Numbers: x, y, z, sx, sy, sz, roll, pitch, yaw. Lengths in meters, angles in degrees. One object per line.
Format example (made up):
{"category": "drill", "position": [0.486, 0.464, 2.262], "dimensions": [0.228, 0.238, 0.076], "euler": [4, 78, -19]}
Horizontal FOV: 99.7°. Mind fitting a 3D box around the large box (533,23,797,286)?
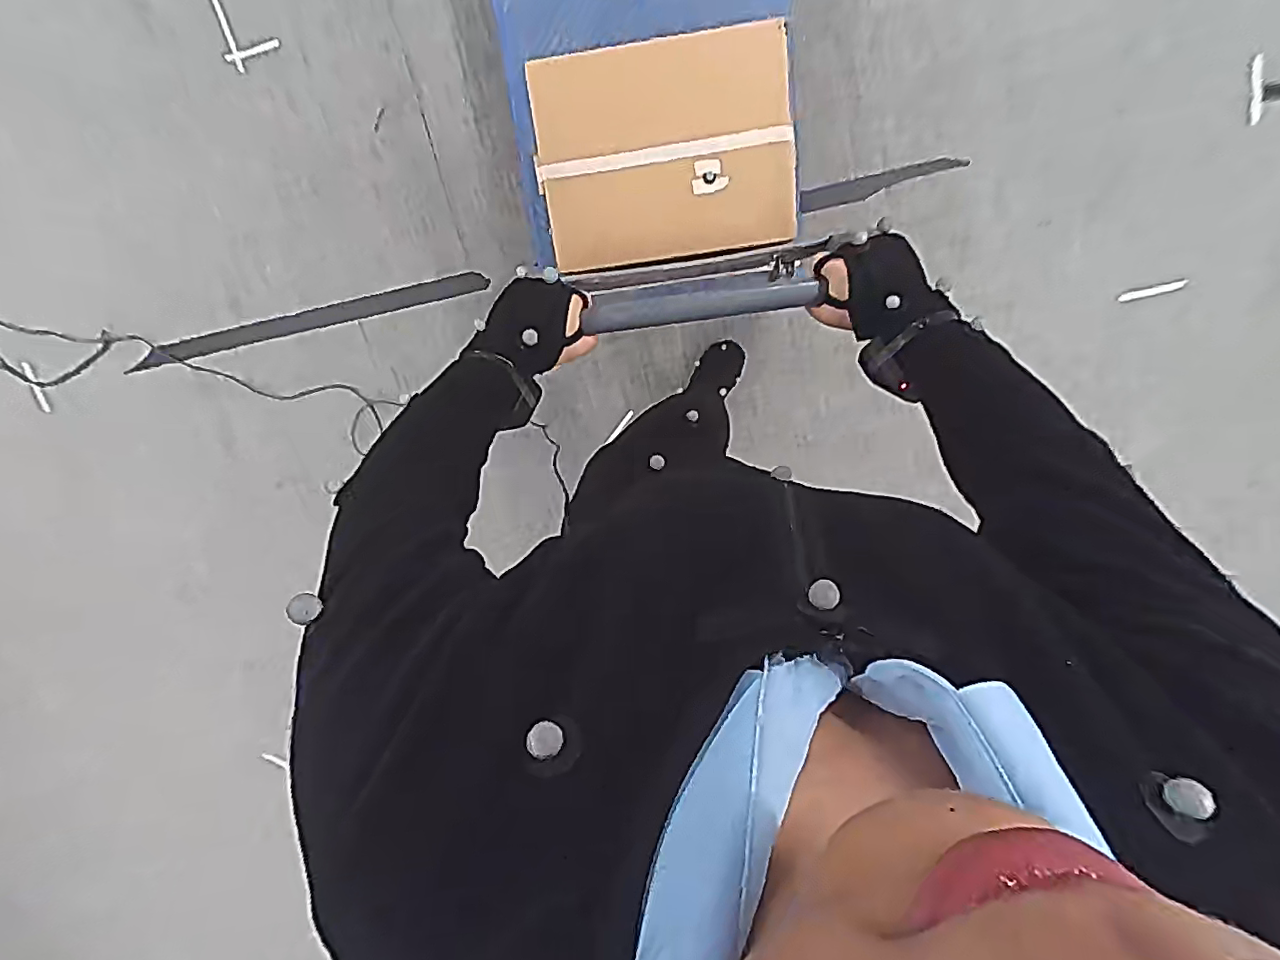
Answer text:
{"category": "large box", "position": [0.048, -0.570, 1.025], "dimensions": [0.408, 0.320, 0.320], "euler": [-8, 106, 3]}
